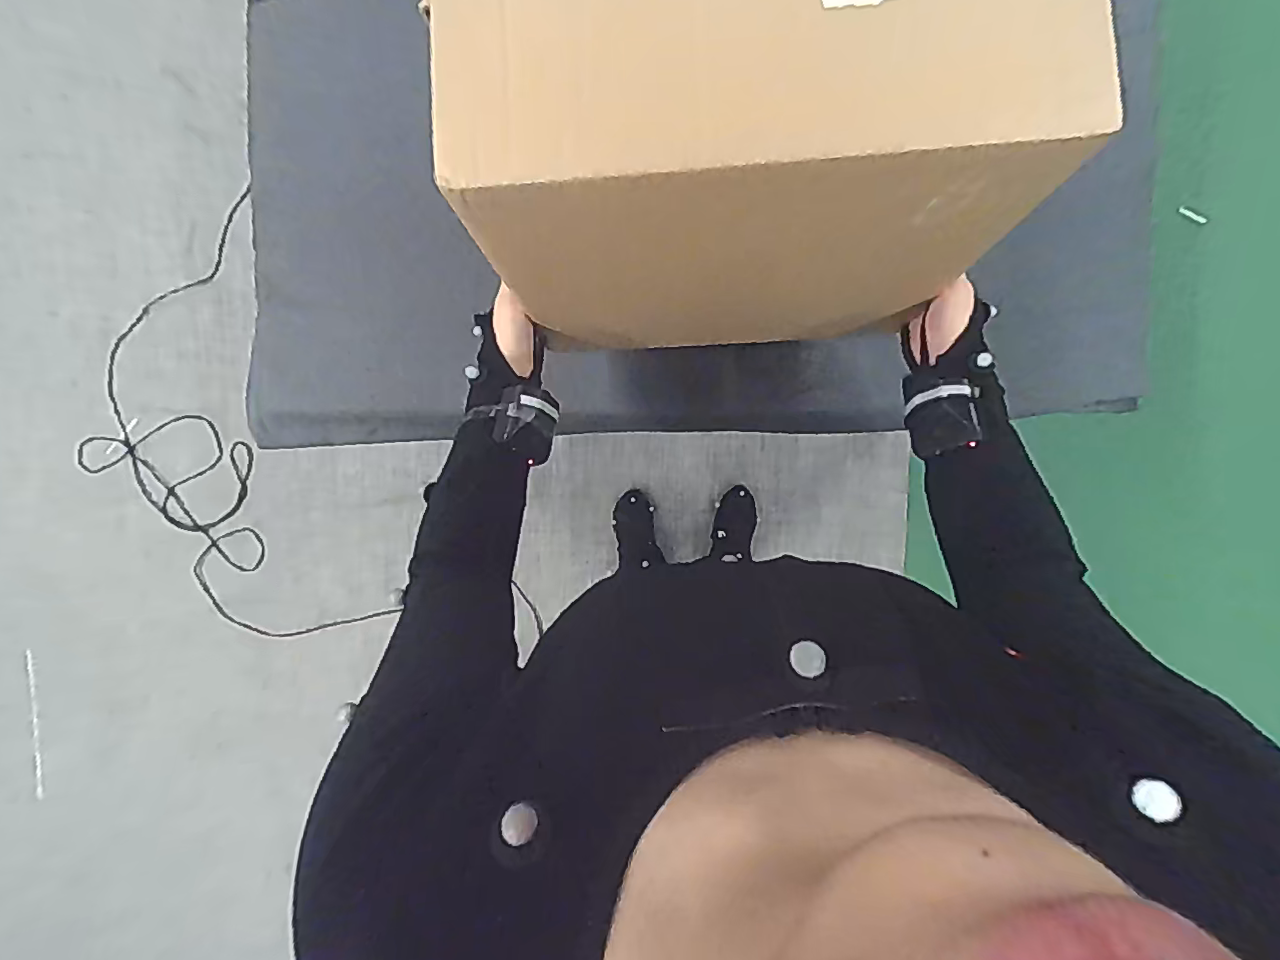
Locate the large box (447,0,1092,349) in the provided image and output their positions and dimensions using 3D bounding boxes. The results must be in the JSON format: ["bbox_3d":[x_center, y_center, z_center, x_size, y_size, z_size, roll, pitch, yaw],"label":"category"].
[{"bbox_3d":[0.076,-0.333,0.500,0.408,0.320,0.320,-3,85,4],"label":"large box"}]
